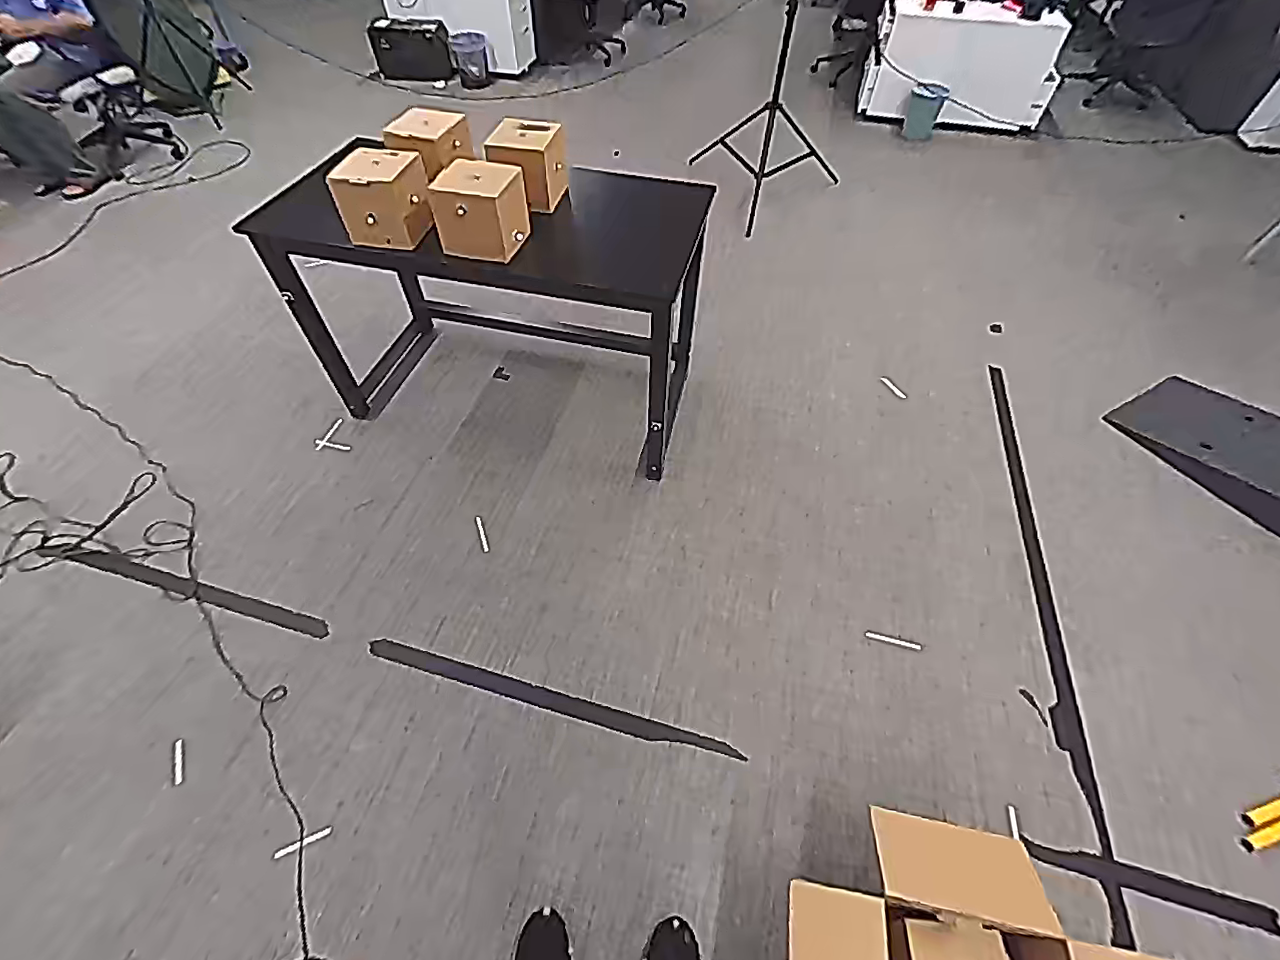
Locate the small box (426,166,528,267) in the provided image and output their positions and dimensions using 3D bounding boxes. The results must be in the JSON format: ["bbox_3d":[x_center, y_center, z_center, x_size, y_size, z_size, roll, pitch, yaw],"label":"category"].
[{"bbox_3d":[-0.398,-0.658,1.356,0.179,0.176,0.168,11,53,7],"label":"small box"}]

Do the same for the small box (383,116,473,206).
[{"bbox_3d":[-0.593,-0.910,1.549,0.168,0.176,0.179,13,53,9],"label":"small box"}]

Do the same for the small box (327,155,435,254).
[{"bbox_3d":[-0.650,-0.702,1.384,0.168,0.176,0.179,7,53,4],"label":"small box"}]
